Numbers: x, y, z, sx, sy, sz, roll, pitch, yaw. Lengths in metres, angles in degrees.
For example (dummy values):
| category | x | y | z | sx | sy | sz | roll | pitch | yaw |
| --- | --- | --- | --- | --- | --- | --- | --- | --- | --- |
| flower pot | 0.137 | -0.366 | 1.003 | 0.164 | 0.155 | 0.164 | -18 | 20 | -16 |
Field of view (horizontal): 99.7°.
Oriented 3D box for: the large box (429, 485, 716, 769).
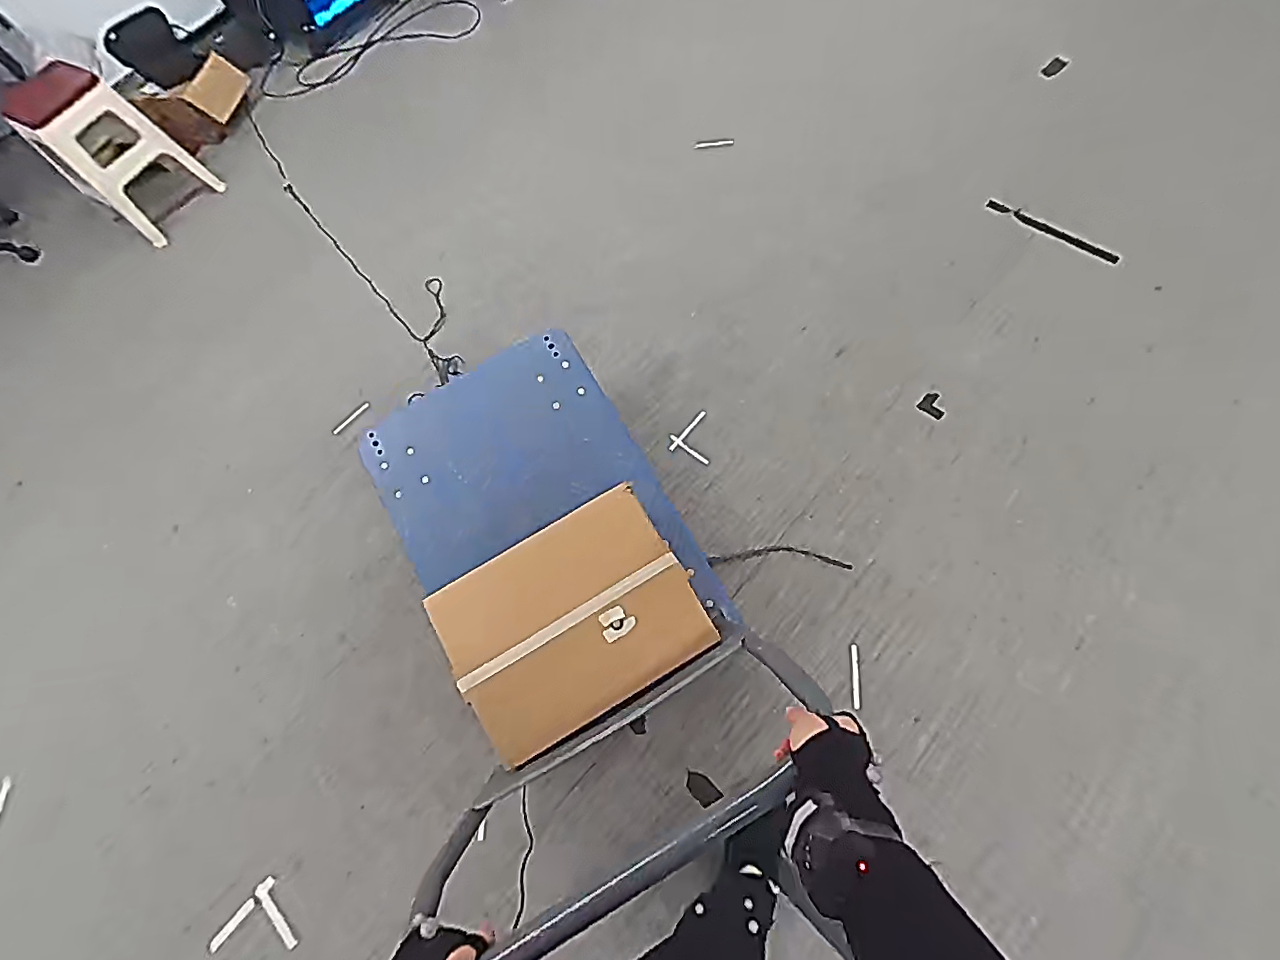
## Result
| category | x | y | z | sx | sy | sz | roll | pitch | yaw |
| --- | --- | --- | --- | --- | --- | --- | --- | --- | --- |
| large box | -0.114 | 0.271 | 1.056 | 0.408 | 0.320 | 0.320 | -31 | 79 | -6 |
